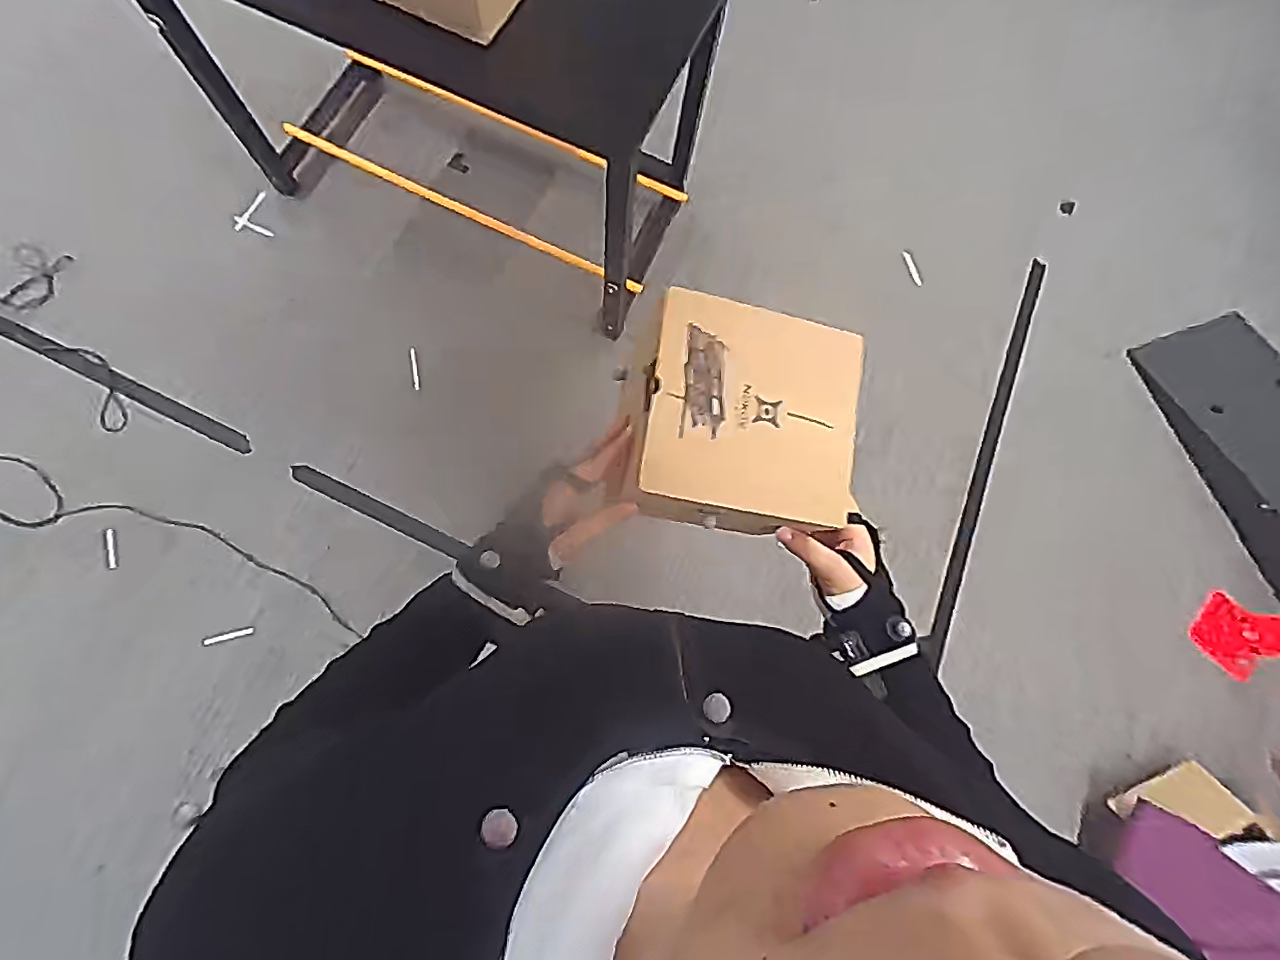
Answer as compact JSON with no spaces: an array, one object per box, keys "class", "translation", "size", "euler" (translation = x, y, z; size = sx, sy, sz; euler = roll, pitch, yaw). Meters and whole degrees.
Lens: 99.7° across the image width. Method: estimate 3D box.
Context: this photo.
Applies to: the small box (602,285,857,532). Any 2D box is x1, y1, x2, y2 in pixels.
[{"class":"small box","translation":[0.068,-0.046,0.493],"size":[0.179,0.176,0.168],"euler":[10,80,-12]}]
